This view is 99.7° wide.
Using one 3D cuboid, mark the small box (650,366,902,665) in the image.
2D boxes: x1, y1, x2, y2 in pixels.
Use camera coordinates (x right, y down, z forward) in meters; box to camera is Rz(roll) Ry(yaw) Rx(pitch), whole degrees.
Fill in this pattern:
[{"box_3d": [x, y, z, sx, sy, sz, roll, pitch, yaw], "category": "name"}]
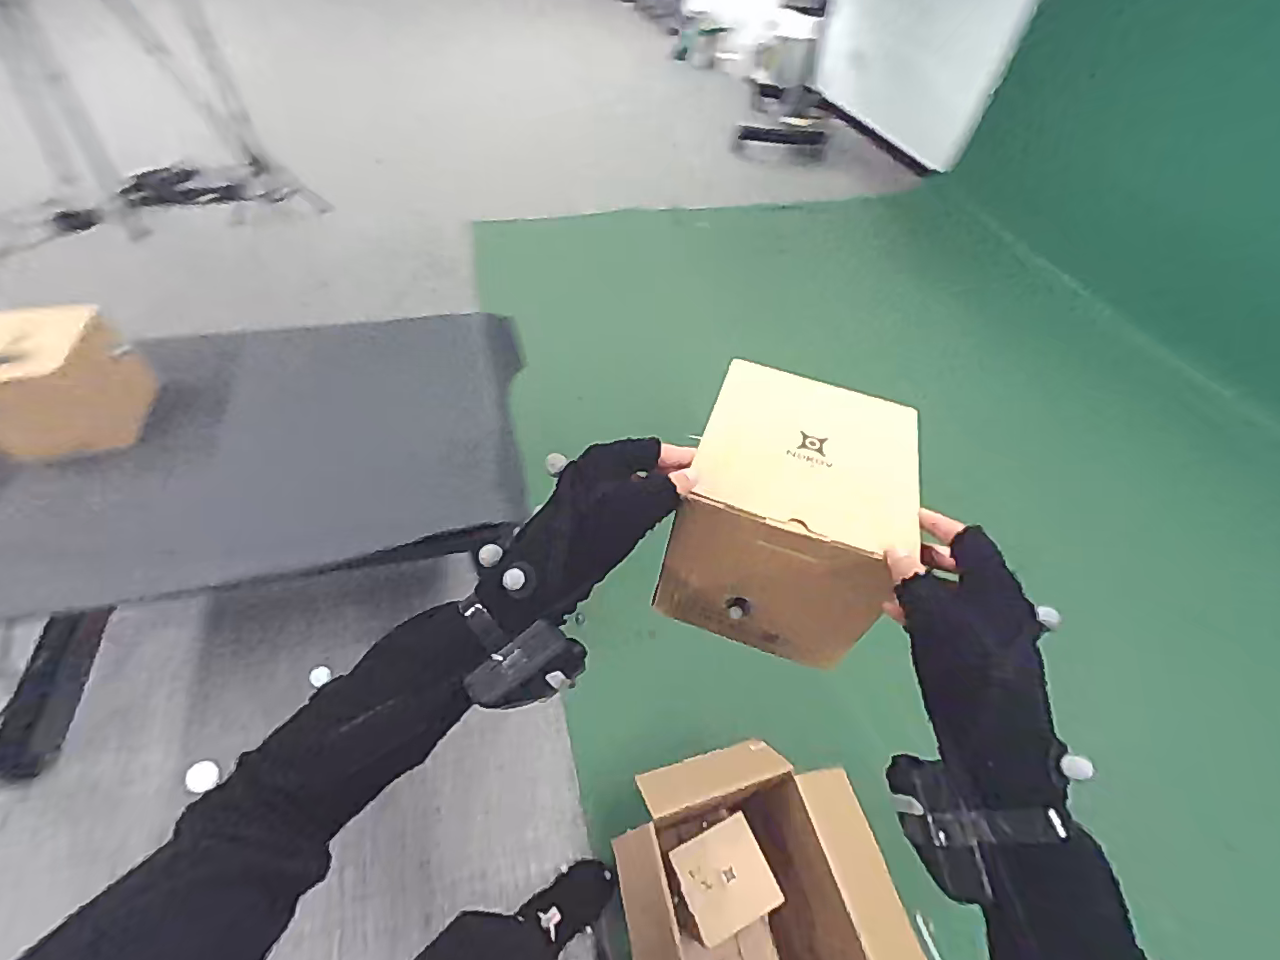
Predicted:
[{"box_3d": [0.114, 0.031, 0.486, 0.168, 0.176, 0.179, 17, 47, 7], "category": "small box"}]
